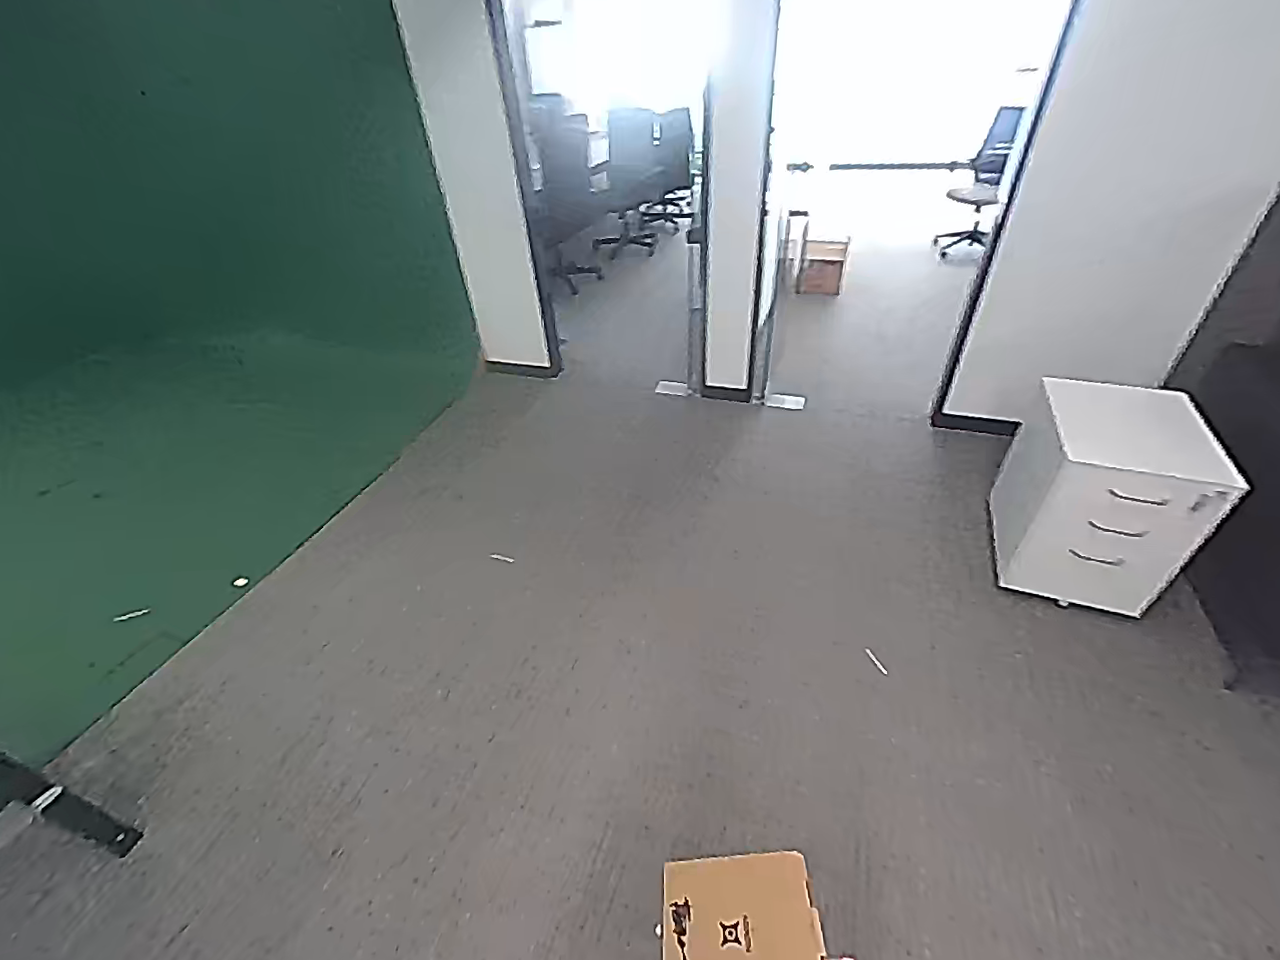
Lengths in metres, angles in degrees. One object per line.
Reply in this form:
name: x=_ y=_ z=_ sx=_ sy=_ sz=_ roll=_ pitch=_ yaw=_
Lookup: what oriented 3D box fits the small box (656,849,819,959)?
small box: x=0.120 y=0.576 z=0.641 sx=0.179 sy=0.176 sz=0.168 roll=-10 pitch=25 yaw=8
